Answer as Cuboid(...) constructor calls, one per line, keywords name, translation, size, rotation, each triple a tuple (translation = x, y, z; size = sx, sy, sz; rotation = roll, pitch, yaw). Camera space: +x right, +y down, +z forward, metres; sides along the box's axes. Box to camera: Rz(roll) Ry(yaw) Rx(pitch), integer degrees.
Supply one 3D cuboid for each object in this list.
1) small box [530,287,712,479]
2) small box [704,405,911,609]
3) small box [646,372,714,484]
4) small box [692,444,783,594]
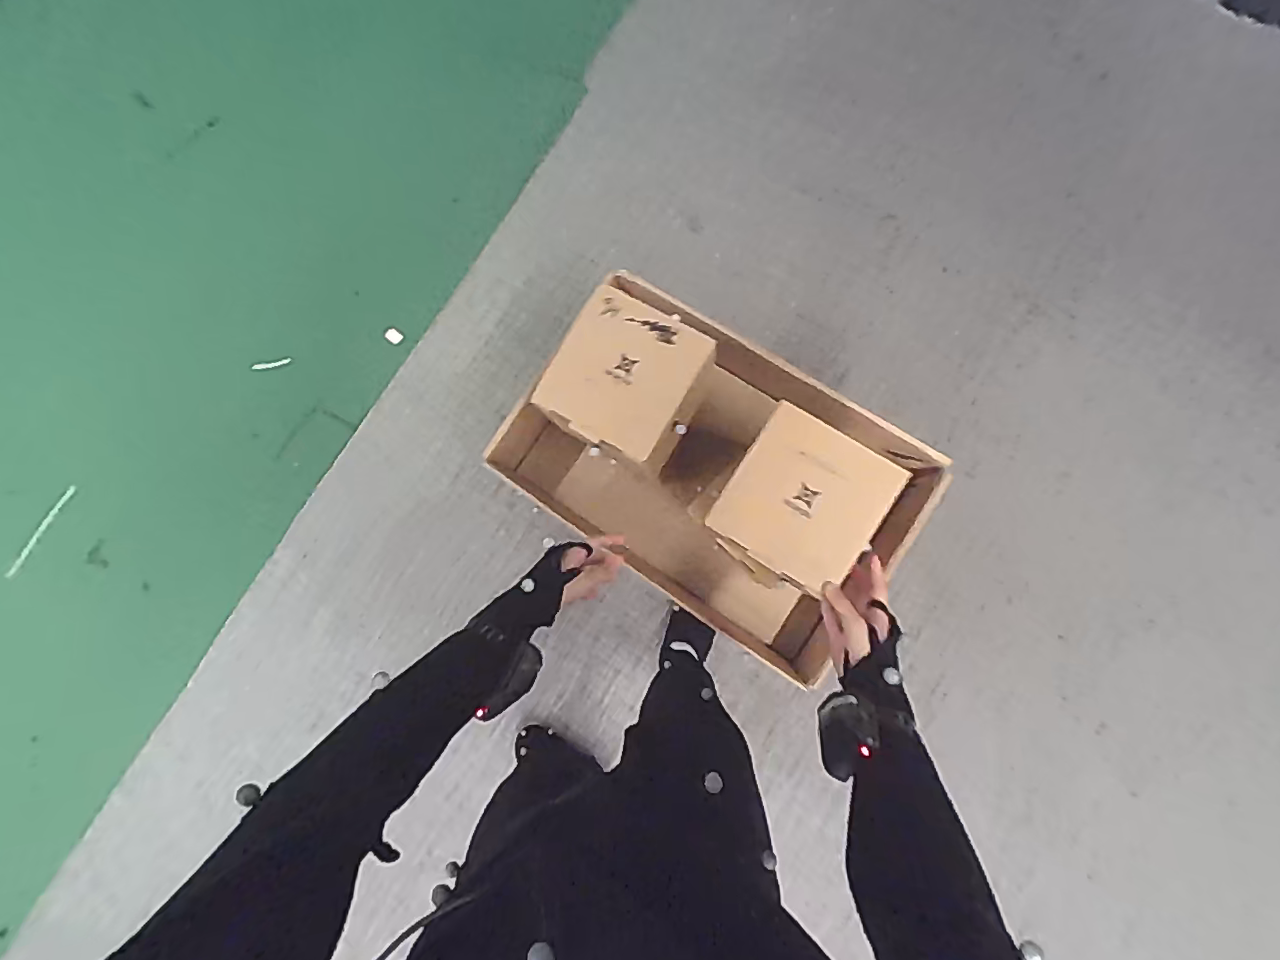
Cuboid(name="small box", translation=(-0.014, -0.116, 0.728), size=(0.168, 0.176, 0.179), rotation=(31, 88, 9))
Cuboid(name="small box", translation=(0.199, 0.038, 0.684), size=(0.168, 0.176, 0.179), rotation=(33, 88, 11))
Cuboid(name="small box", translation=(0.007, -0.113, 0.891), size=(0.168, 0.176, 0.179), rotation=(30, 87, 10))
Cuboid(name="small box", translation=(0.199, 0.053, 0.849), size=(0.168, 0.176, 0.179), rotation=(44, 91, 11))
